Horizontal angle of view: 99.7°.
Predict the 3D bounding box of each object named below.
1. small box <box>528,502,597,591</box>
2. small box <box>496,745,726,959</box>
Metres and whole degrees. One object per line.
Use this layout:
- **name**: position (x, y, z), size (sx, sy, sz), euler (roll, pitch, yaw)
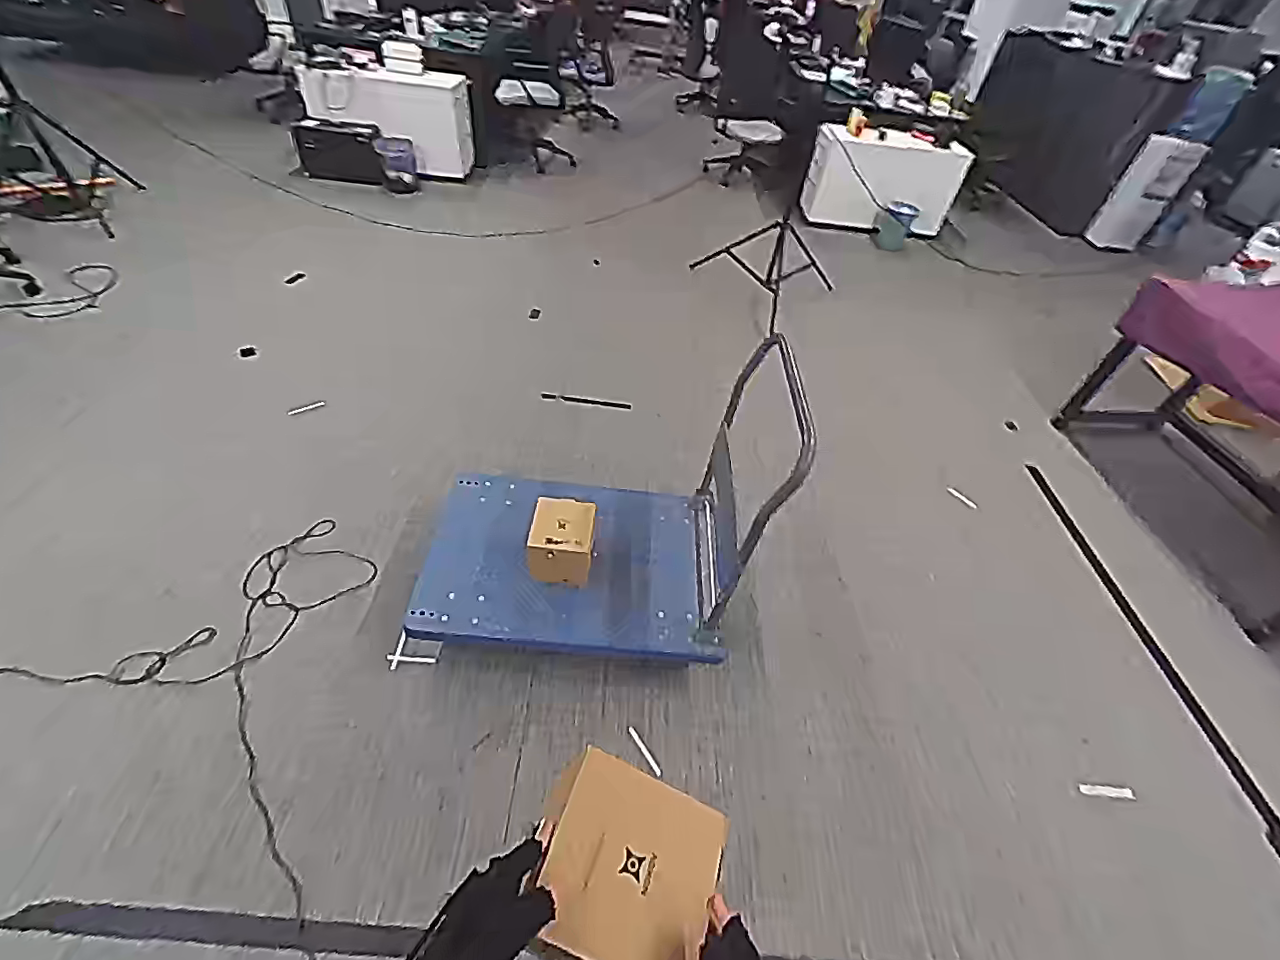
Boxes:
- **small box**: position (-0.219, 0.190, 1.543), size (0.168, 0.176, 0.179), euler (7, 45, -1)
- **small box**: position (-0.033, 0.427, 0.588), size (0.179, 0.176, 0.168), euler (27, 43, 0)
